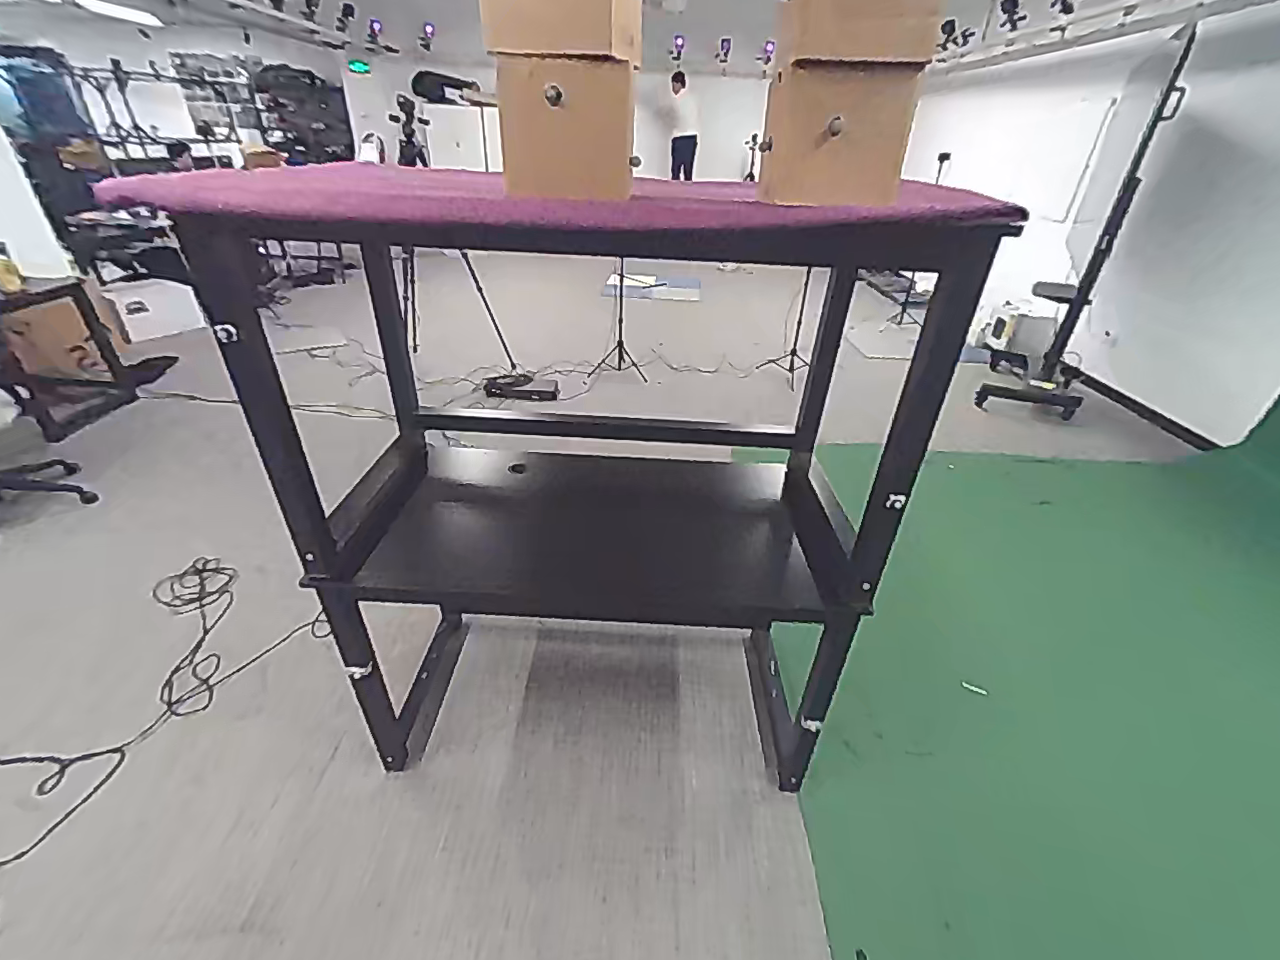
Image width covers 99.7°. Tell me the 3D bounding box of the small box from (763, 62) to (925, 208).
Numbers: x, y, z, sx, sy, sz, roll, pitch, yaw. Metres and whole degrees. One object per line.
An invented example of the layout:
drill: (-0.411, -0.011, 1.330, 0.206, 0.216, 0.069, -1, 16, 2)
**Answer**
small box: (0.284, -0.500, 0.802, 0.179, 0.176, 0.168, 2, 30, 2)

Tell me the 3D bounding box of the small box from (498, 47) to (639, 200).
small box: (-0.096, -0.514, 0.796, 0.179, 0.176, 0.168, 5, 33, 1)

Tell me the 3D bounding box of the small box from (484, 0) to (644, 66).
small box: (-0.093, -0.651, 0.708, 0.179, 0.176, 0.168, 8, 32, 10)

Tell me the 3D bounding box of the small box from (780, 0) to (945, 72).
small box: (0.288, -0.634, 0.709, 0.179, 0.176, 0.168, 3, 30, 1)
